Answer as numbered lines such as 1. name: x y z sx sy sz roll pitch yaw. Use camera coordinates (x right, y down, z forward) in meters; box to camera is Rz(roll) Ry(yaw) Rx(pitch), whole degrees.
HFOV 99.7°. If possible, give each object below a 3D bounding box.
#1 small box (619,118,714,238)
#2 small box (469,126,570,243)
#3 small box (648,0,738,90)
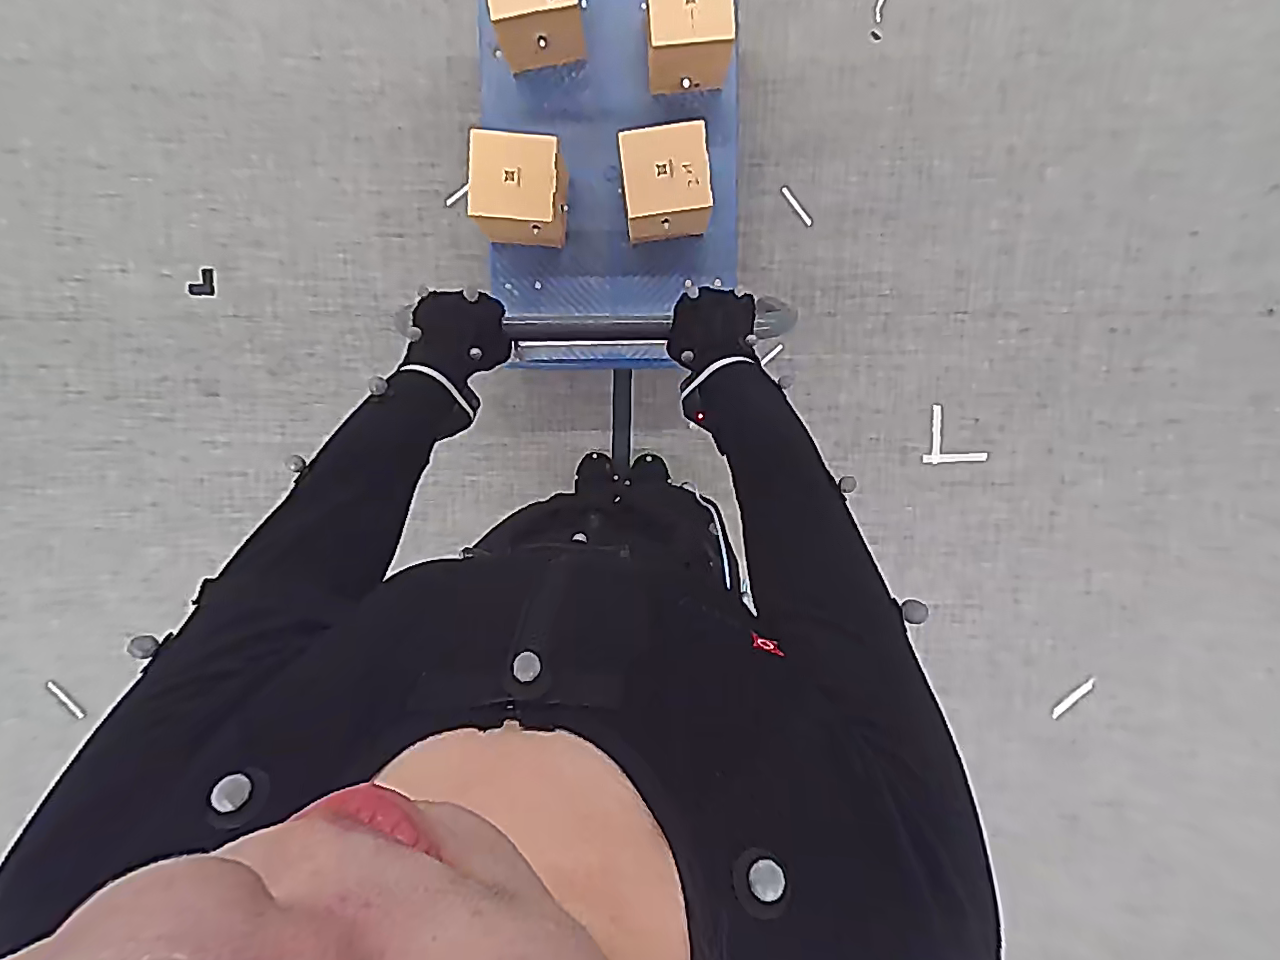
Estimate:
1. small box: 0.056 -0.632 1.152 0.179 0.176 0.168 -7 98 2
2. small box: -0.252 -0.622 1.157 0.179 0.176 0.168 4 97 -2
3. small box: 0.103 -0.946 1.109 0.168 0.176 0.179 -4 99 1
